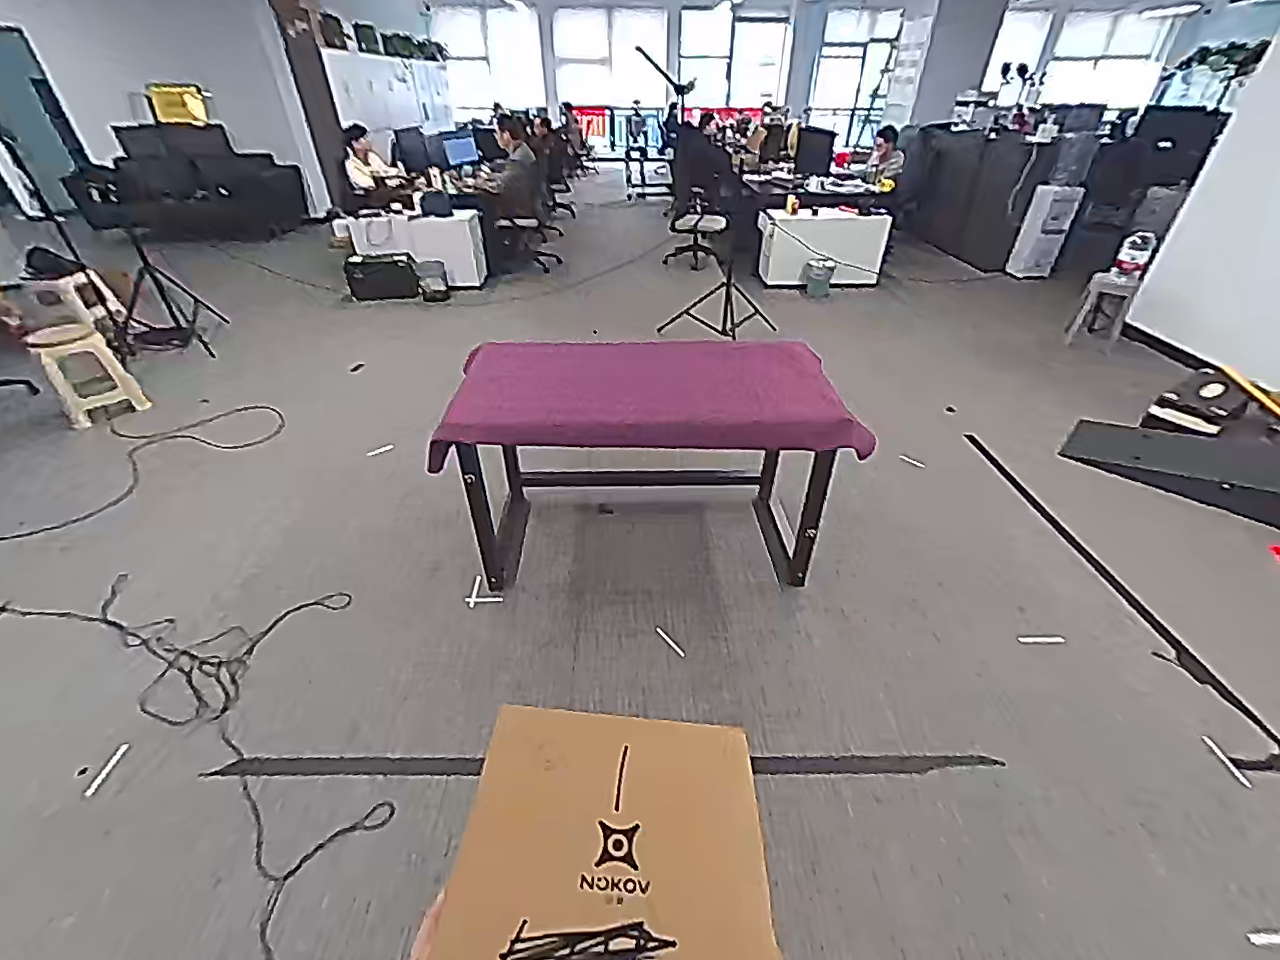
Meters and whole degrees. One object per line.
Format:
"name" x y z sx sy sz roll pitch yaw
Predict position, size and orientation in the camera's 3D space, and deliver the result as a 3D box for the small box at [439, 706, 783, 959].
"small box" -0.017 0.273 0.331 0.168 0.176 0.179 6 30 -1
